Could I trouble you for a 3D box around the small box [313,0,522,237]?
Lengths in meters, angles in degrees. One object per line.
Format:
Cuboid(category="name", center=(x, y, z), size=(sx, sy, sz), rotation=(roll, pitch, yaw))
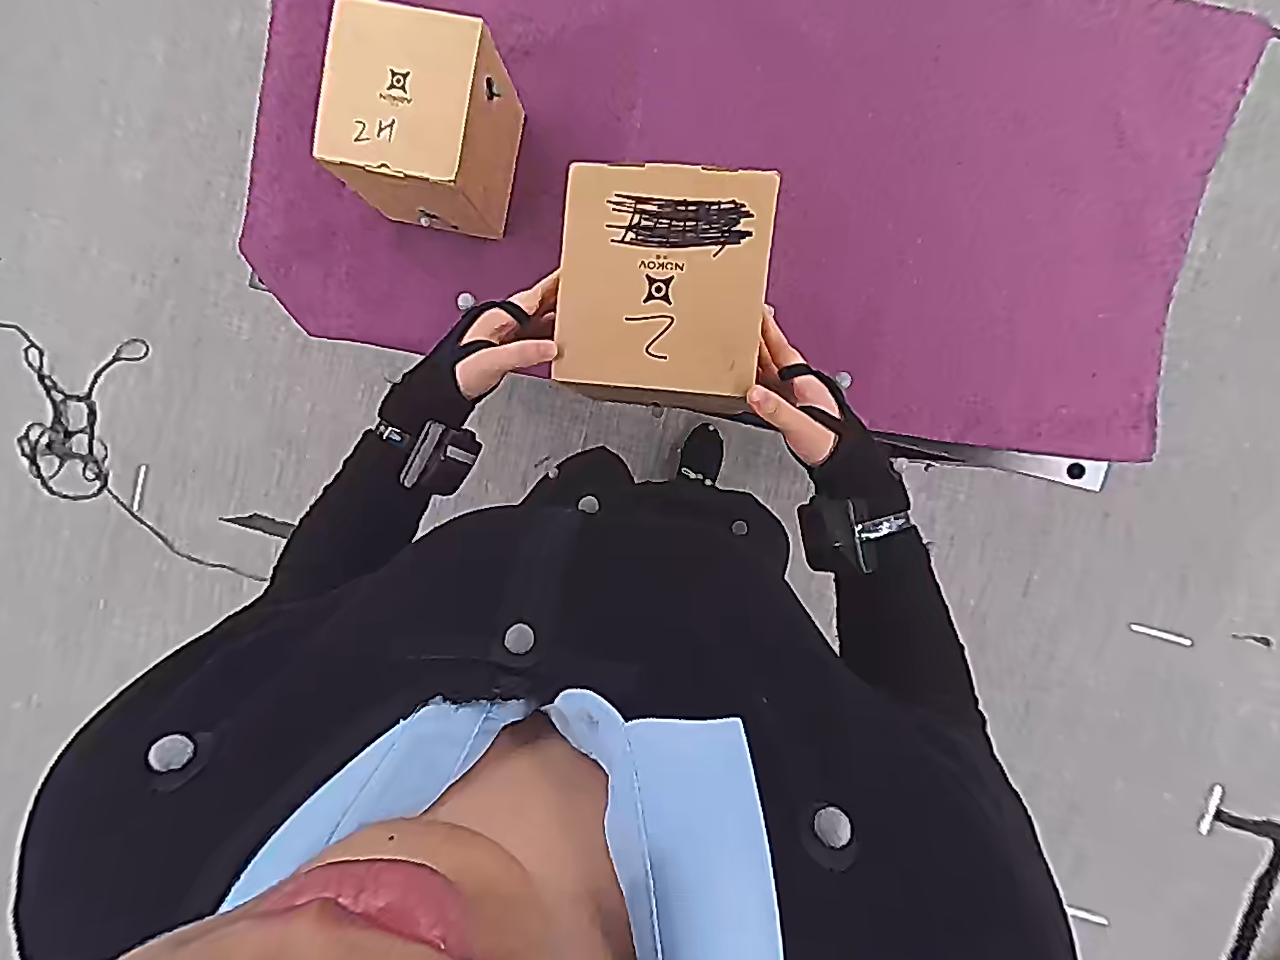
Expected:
Cuboid(category="small box", center=(-0.252, -0.425, 0.654), size=(0.168, 0.176, 0.179), rotation=(12, 95, 2))
